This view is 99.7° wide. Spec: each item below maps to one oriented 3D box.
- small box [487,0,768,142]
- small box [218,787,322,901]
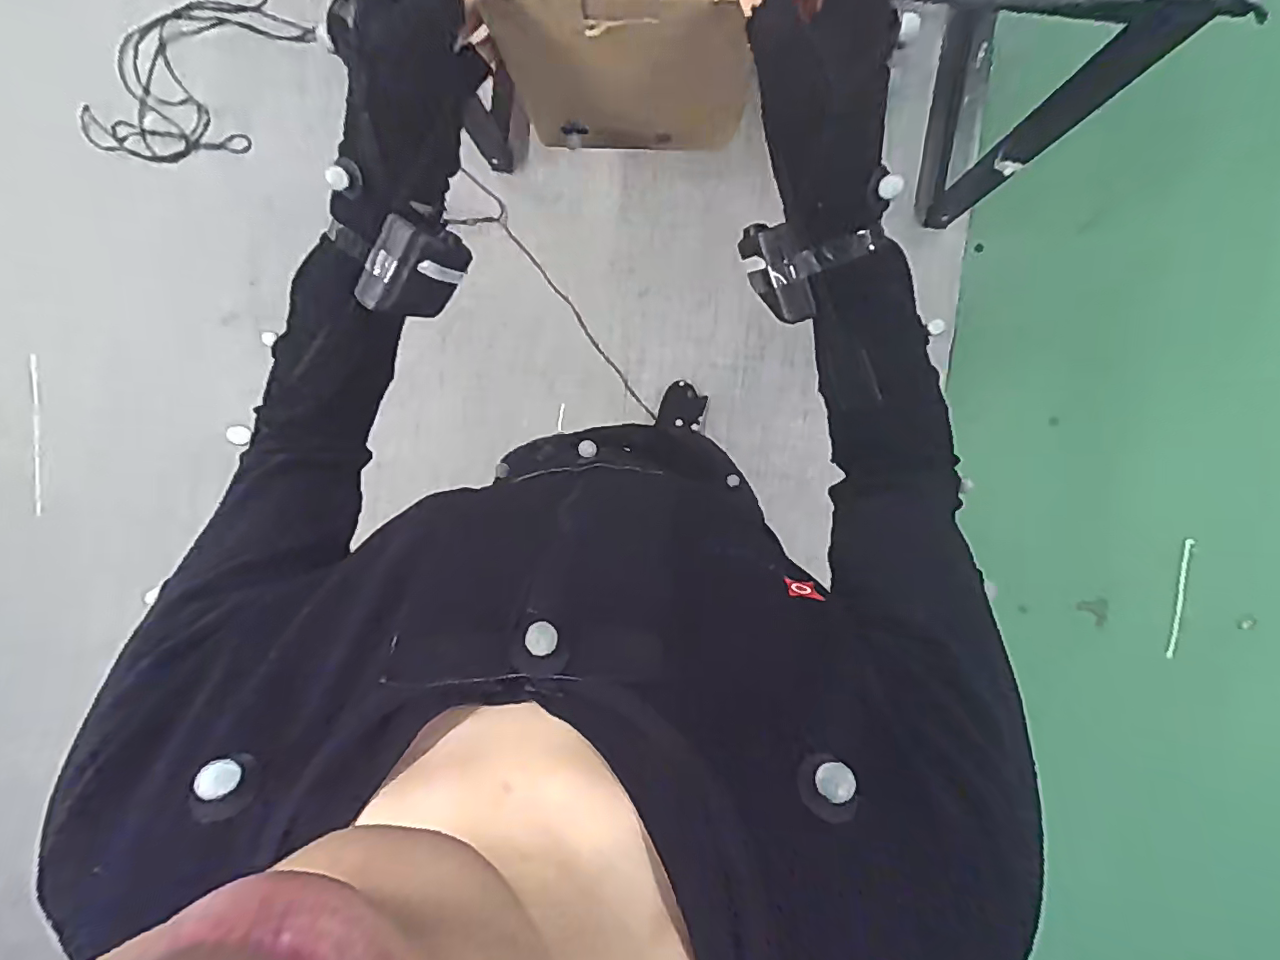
[{"bbox_3d":[0.004,-0.359,0.367,0.168,0.176,0.179,3,95,4],"label":"small box"},{"bbox_3d":[-1.004,0.987,1.477,0.168,0.176,0.179,9,95,4],"label":"small box"}]
